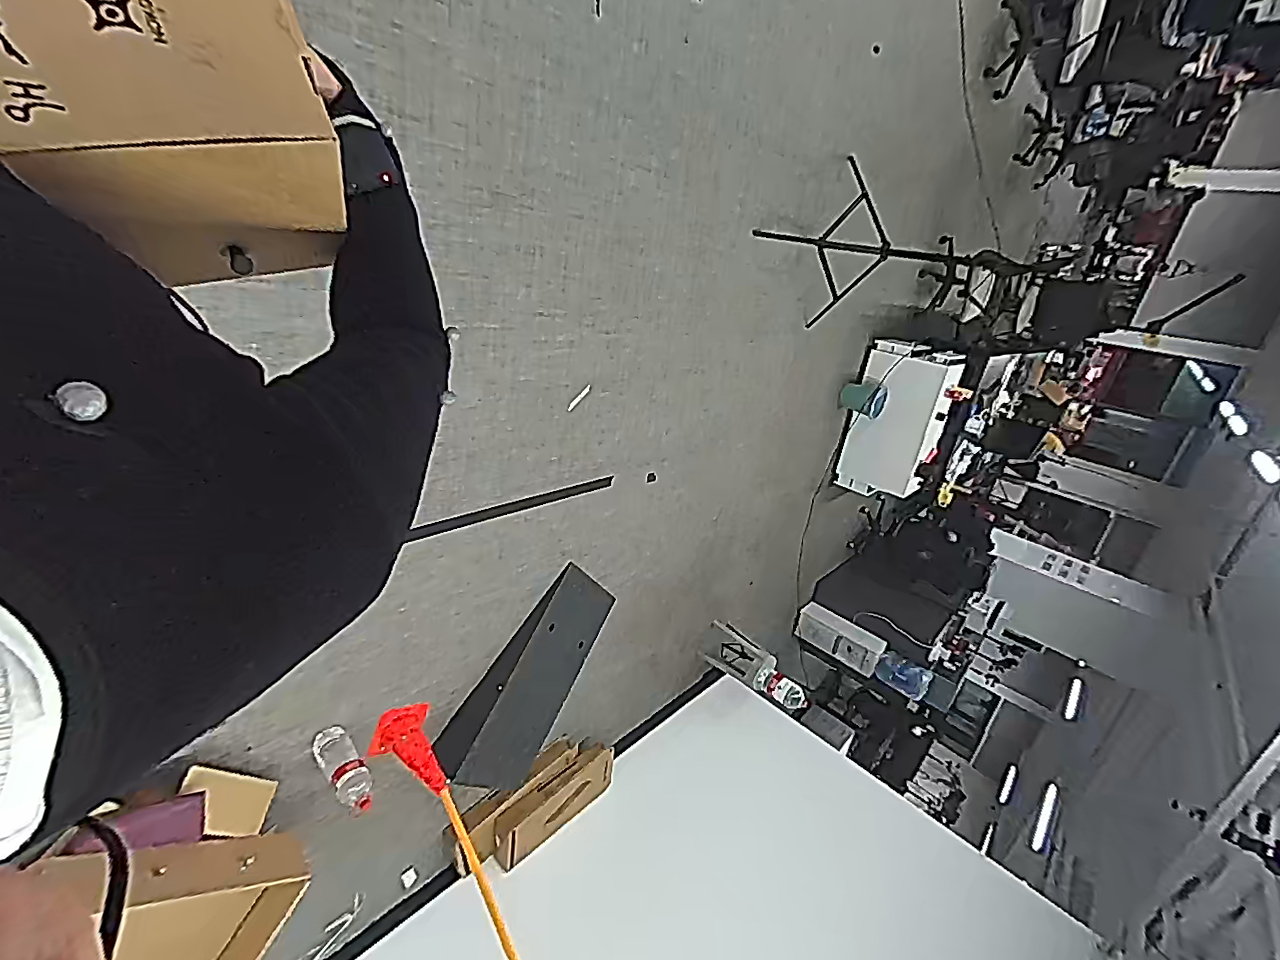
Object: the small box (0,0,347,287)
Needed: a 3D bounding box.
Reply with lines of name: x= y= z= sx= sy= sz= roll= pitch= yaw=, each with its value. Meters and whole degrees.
small box: x=-0.346 y=-0.272 z=0.417 sx=0.179 sy=0.176 sz=0.168 roll=-22 pitch=90 yaw=-27
